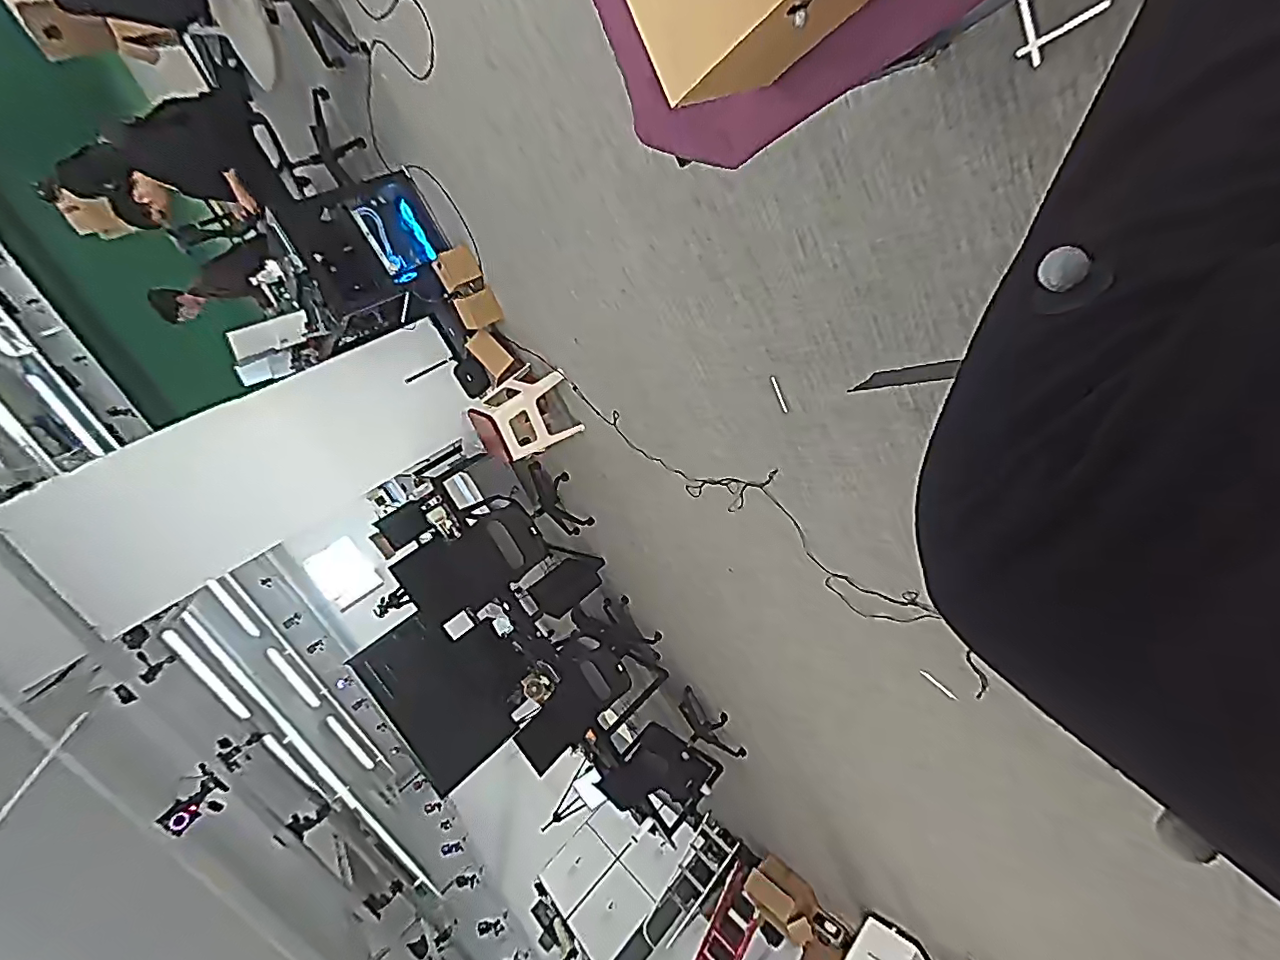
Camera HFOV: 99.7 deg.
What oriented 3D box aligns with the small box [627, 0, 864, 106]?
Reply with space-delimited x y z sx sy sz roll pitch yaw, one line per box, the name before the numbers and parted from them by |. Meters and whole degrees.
small box | 0.101 -0.490 0.499 0.179 0.176 0.168 -6 116 55
